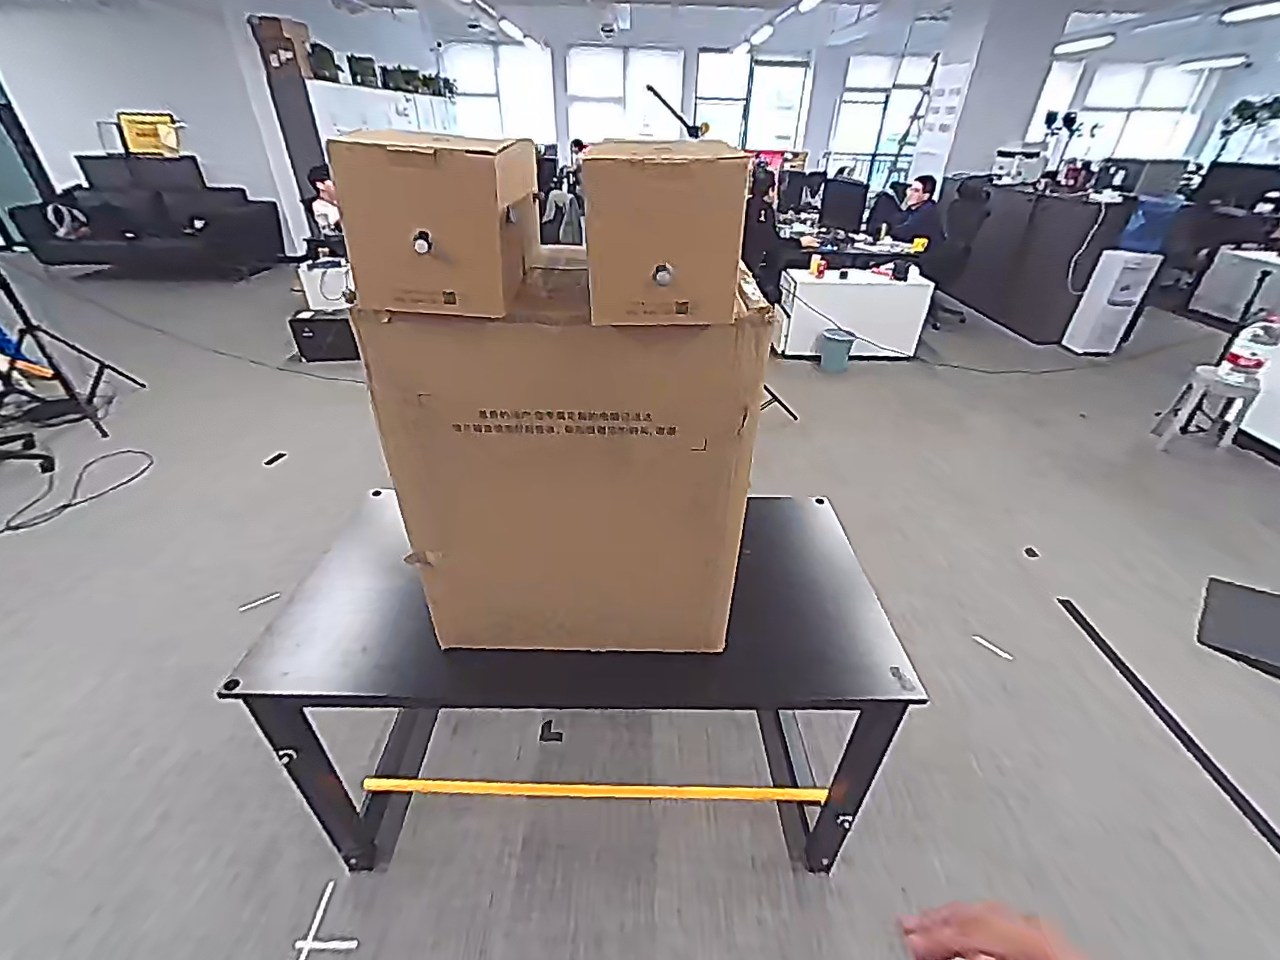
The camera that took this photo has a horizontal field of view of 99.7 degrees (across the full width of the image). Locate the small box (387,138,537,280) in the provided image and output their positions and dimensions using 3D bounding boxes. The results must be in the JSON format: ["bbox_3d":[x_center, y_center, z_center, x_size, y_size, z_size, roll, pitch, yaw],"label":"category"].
[{"bbox_3d":[-0.250,-0.409,0.810,0.168,0.176,0.179,0,33,-2],"label":"small box"}]

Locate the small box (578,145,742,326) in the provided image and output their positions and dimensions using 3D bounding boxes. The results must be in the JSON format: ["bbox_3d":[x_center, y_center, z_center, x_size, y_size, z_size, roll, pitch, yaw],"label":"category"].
[{"bbox_3d":[0.020,-0.295,0.647,0.168,0.176,0.179,-2,36,0],"label":"small box"}]
